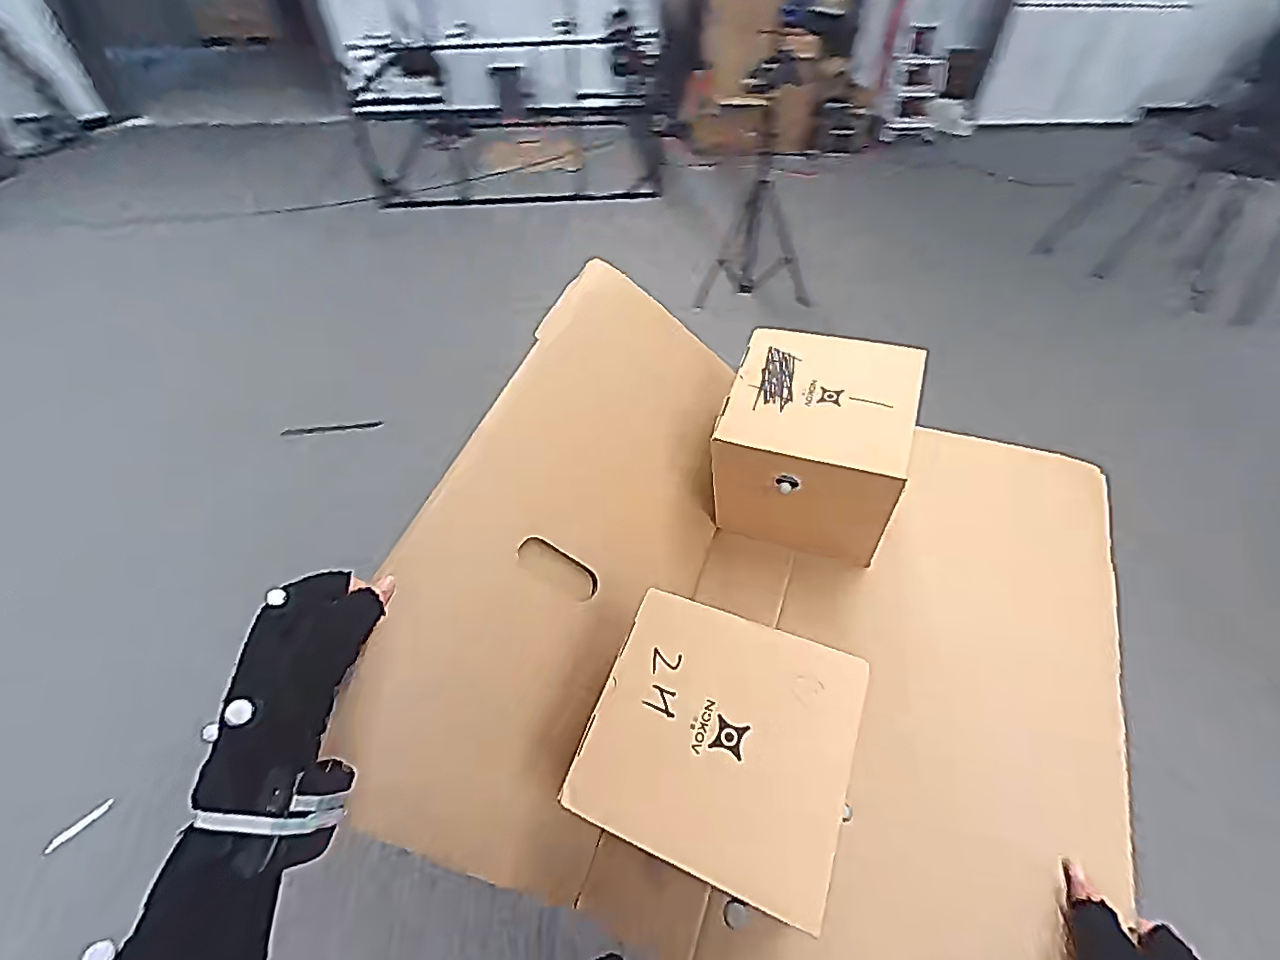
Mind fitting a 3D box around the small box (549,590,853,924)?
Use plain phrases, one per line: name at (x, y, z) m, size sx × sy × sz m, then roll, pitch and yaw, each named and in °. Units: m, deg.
small box at (0.057, 0.220, 0.447) m, size 0.179 × 0.176 × 0.168 m, roll 15°, pitch 59°, yaw 20°
